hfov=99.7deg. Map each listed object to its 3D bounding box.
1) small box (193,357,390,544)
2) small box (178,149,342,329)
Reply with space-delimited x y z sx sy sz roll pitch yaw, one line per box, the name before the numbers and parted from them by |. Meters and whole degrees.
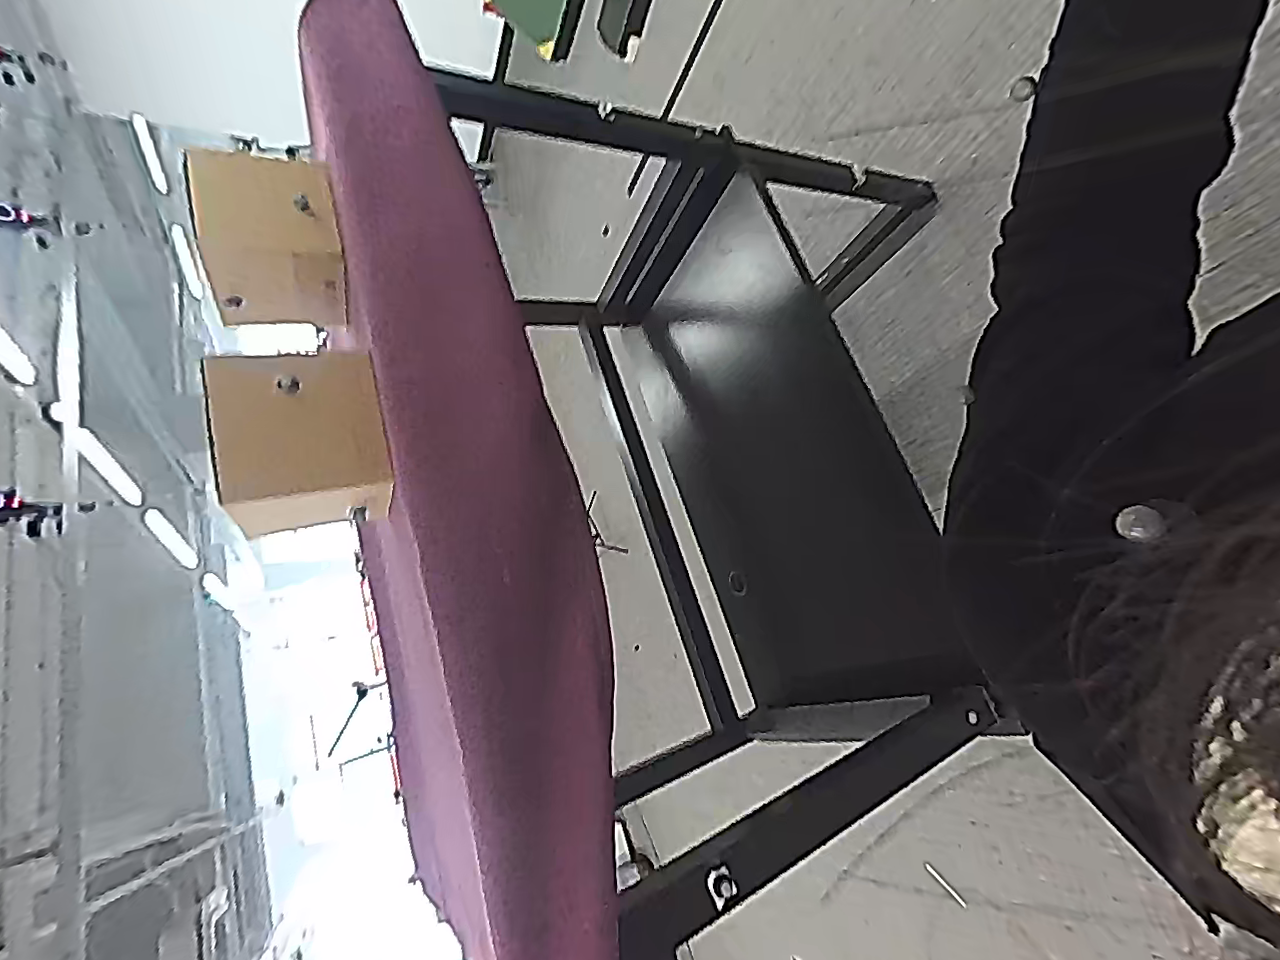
small box | -0.416 -0.035 0.663 0.168 0.176 0.179 -36 68 58
small box | -0.545 -0.338 0.794 0.168 0.176 0.179 -42 62 56
